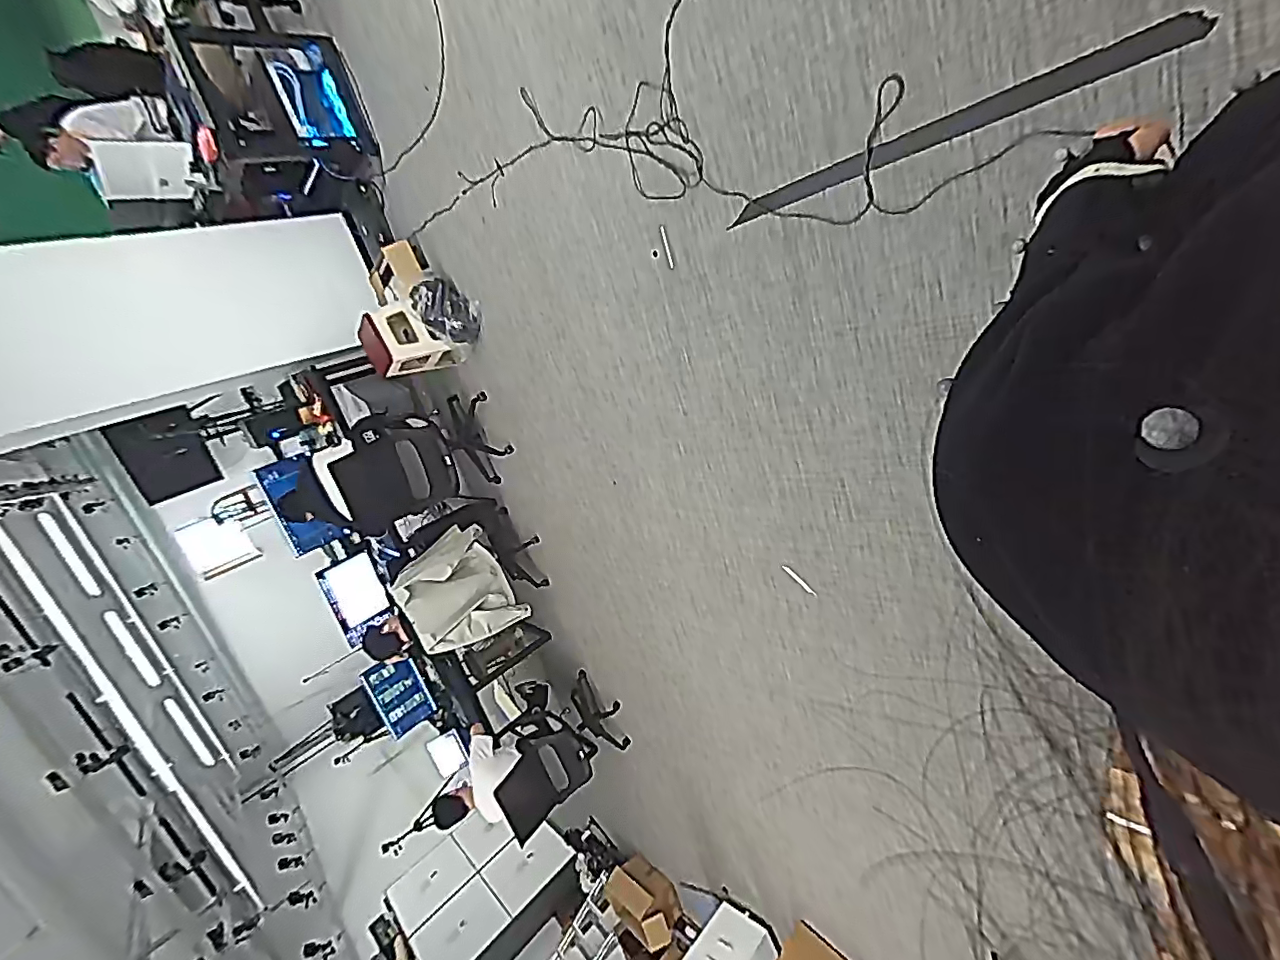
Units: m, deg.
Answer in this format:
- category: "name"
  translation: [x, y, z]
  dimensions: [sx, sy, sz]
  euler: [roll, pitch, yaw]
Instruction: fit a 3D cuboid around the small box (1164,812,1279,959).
- category: "small box"
  translation: [1.174, 0.810, 1.074]
  dimensions: [0.179, 0.176, 0.168]
  euler: [2, 114, 50]
